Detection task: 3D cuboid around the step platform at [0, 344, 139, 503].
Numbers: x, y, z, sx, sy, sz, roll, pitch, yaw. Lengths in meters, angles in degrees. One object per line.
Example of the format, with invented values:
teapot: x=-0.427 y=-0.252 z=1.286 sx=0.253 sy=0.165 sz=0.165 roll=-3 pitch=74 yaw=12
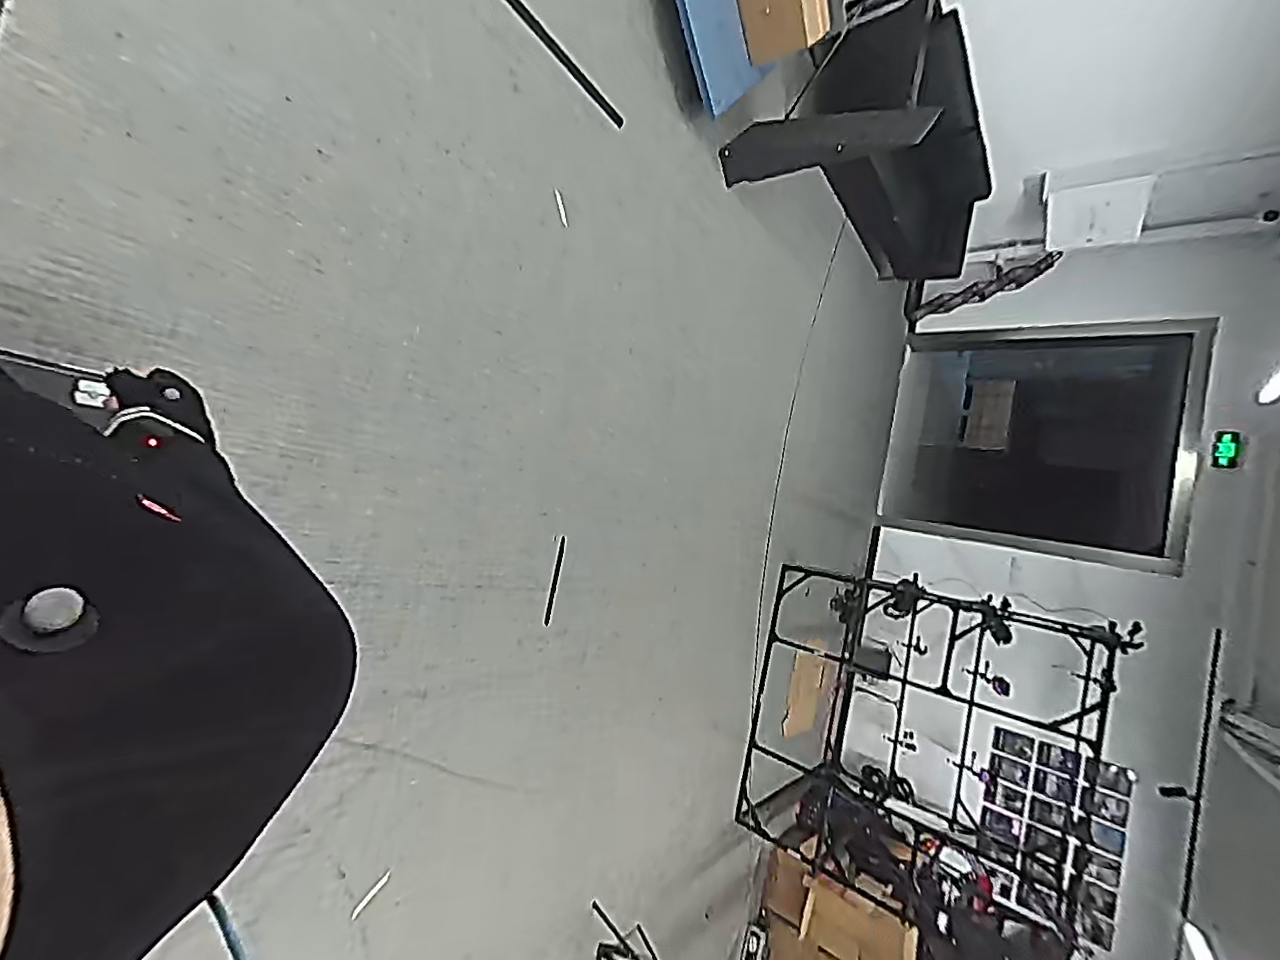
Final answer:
step platform: x=-1.320 y=-0.141 z=0.919 sx=0.684 sy=0.204 sz=0.286 roll=15 pitch=85 yaw=-53
